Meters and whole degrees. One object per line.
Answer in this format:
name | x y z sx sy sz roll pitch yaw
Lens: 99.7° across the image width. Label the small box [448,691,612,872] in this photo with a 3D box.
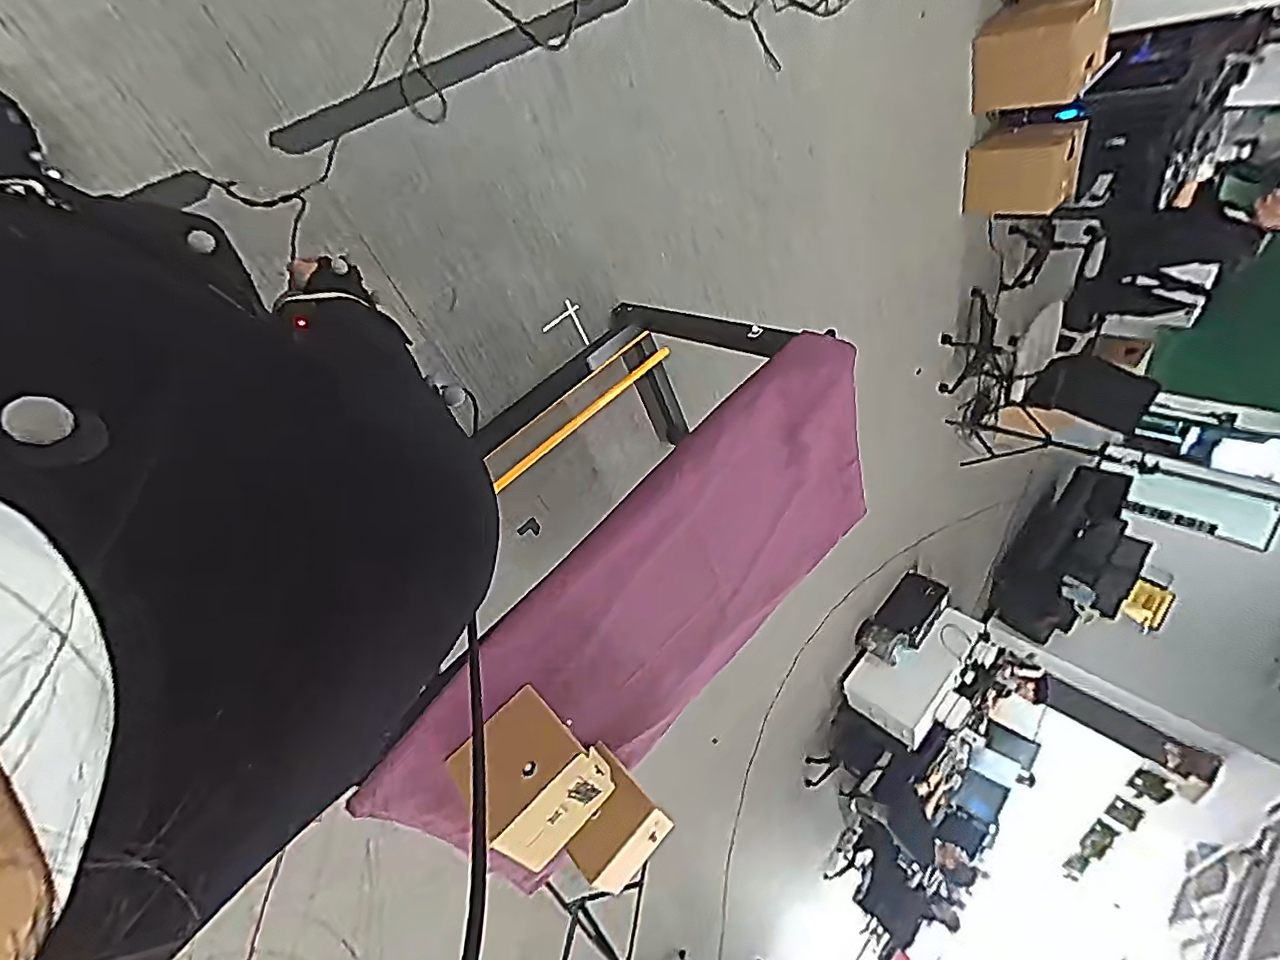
small box | -0.181 0.490 0.896 0.179 0.176 0.168 -41 134 -21
